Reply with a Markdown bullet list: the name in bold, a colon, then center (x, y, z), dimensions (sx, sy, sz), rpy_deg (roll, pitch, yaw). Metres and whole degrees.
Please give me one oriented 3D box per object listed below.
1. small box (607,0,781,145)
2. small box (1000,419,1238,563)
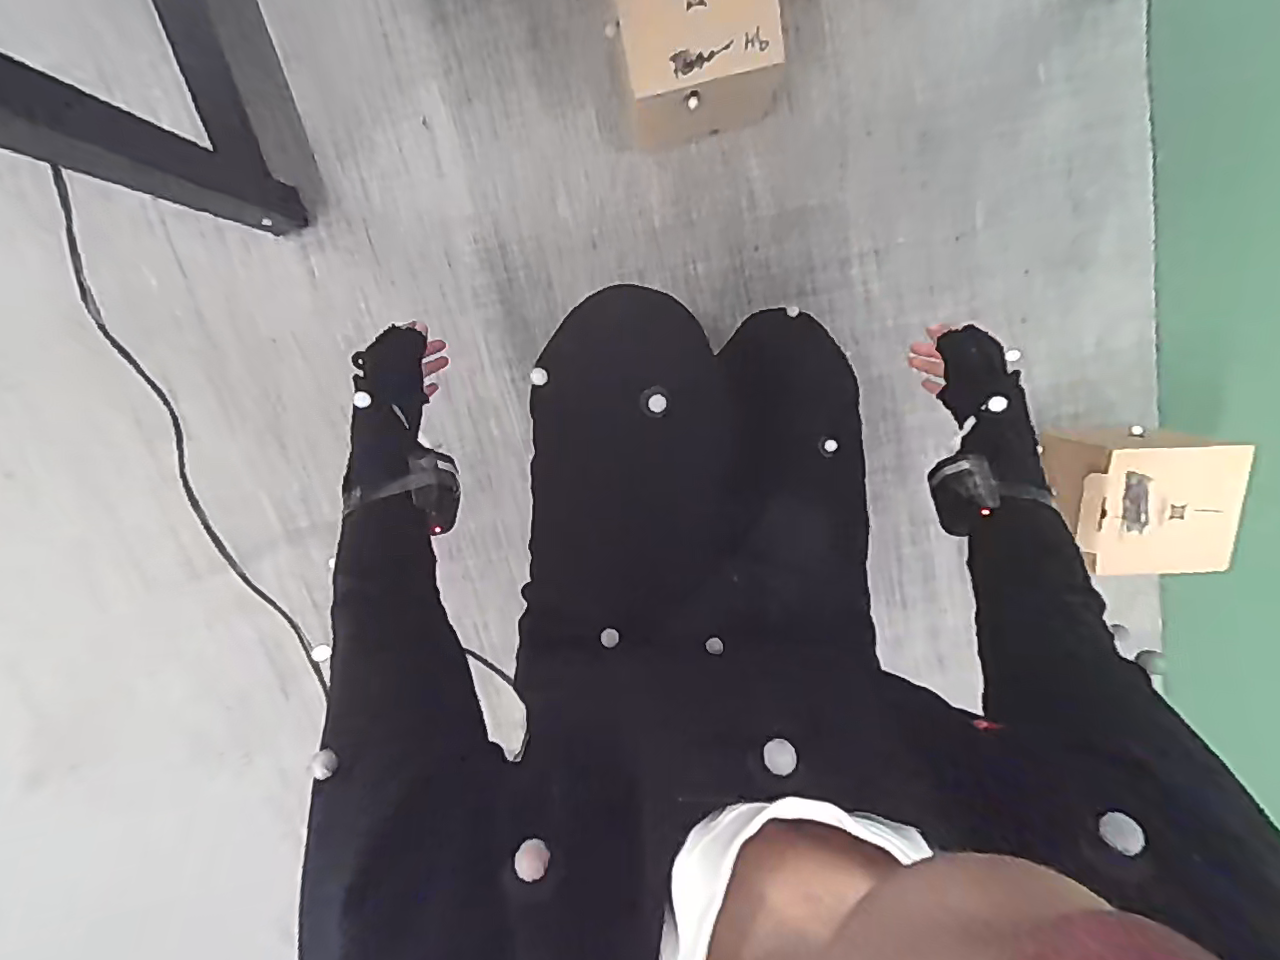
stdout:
- **small box**: center (0.053, -0.531, 0.629), dimensions (0.168, 0.176, 0.179), rpy_deg (-12, 102, 4)
- **small box**: center (0.643, 0.008, 0.752), dimensions (0.179, 0.176, 0.168), rpy_deg (-2, 104, 0)
